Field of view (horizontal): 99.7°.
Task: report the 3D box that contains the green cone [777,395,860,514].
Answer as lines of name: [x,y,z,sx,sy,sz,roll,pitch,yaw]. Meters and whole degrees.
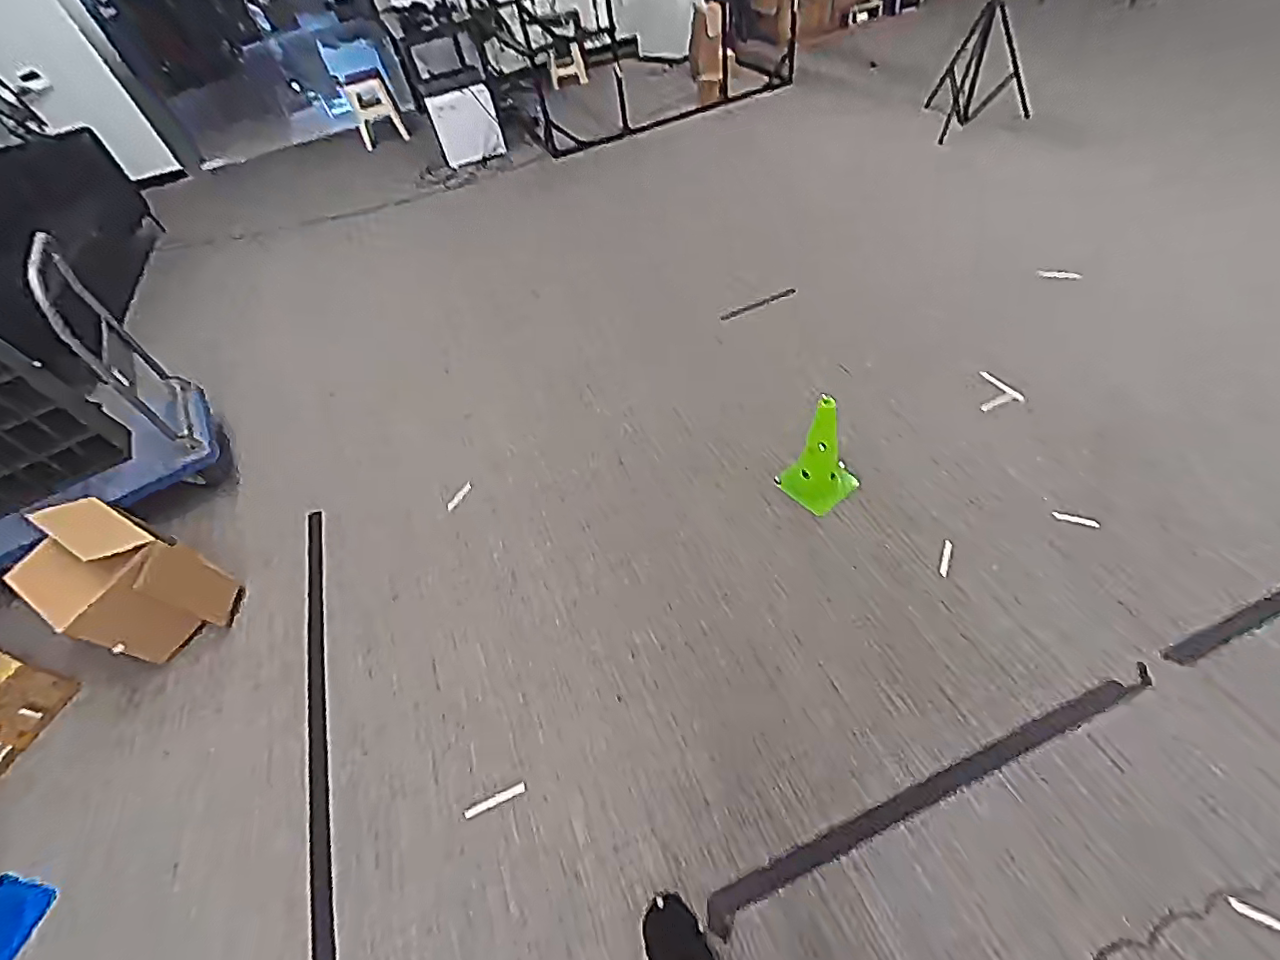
green cone: [0.556,-0.102,1.625,0.202,0.368,0.200,-35,53,-19]
